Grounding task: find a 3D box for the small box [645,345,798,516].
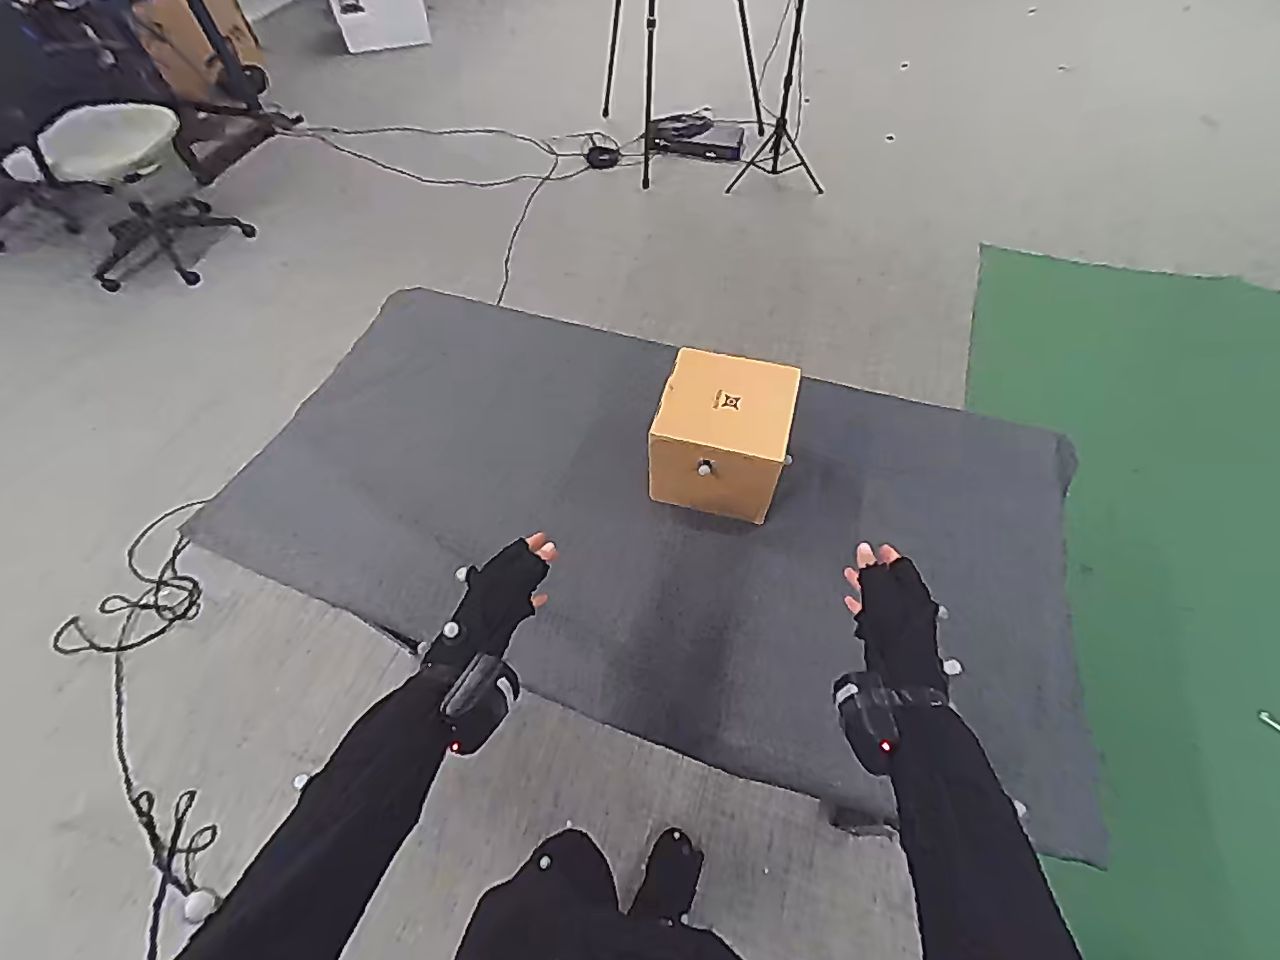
[{"bbox_3d":[0.116,-0.066,0.786,0.179,0.176,0.168,12,59,12],"label":"small box"}]
